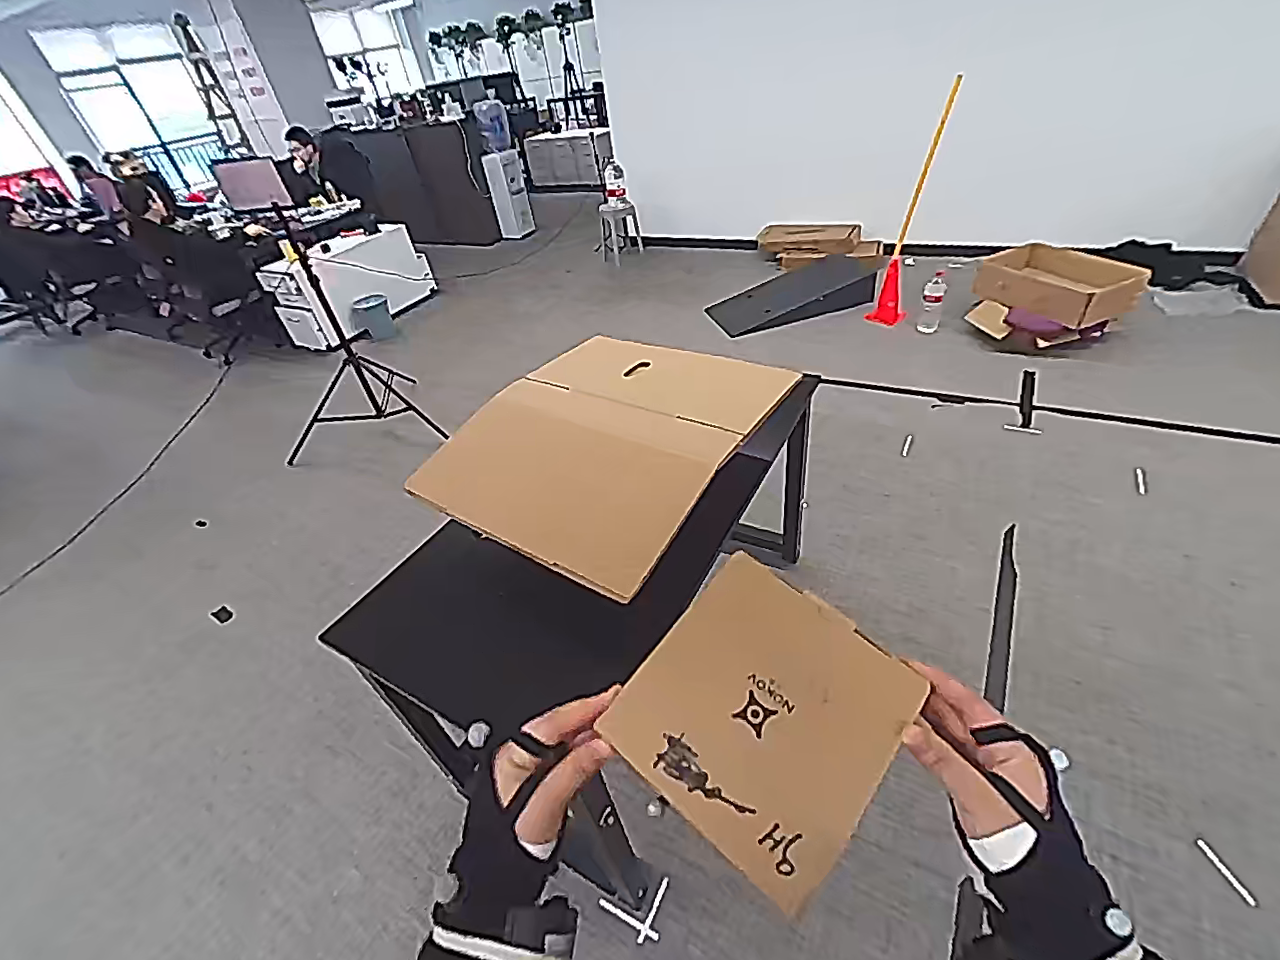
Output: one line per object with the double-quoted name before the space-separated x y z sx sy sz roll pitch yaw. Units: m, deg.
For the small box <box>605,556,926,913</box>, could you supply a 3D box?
"small box" 0.092 0.202 0.447 0.168 0.176 0.179 33 64 24
